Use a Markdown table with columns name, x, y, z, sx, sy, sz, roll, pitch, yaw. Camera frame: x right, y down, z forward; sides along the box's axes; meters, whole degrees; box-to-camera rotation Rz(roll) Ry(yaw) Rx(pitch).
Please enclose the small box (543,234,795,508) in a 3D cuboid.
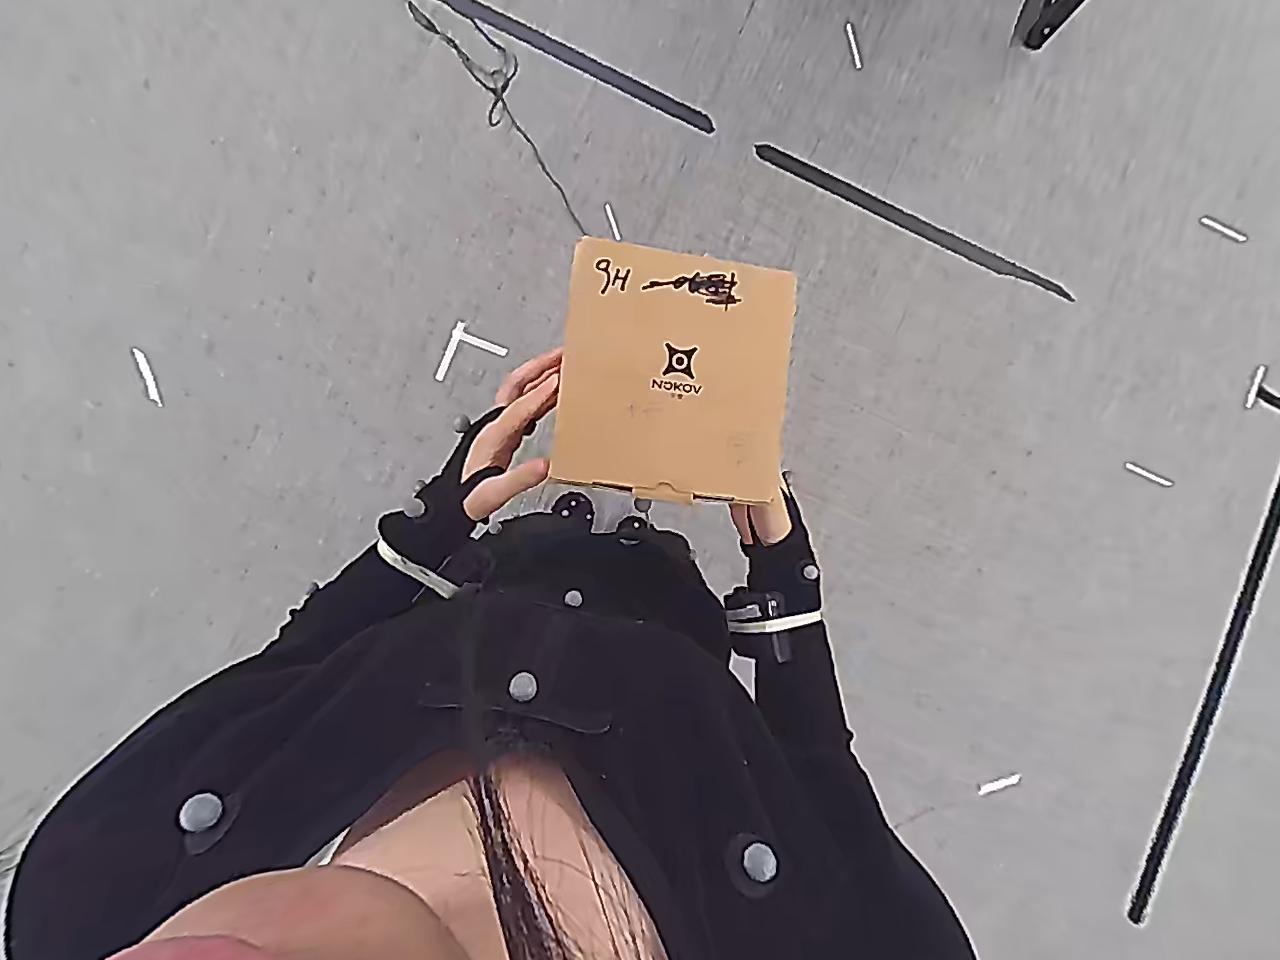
| name | x | y | z | sx | sy | sz | roll | pitch | yaw |
| --- | --- | --- | --- | --- | --- | --- | --- | --- | --- |
| small box | 0.013 | -0.076 | 0.464 | 0.168 | 0.176 | 0.179 | 7 | 89 | -8 |
